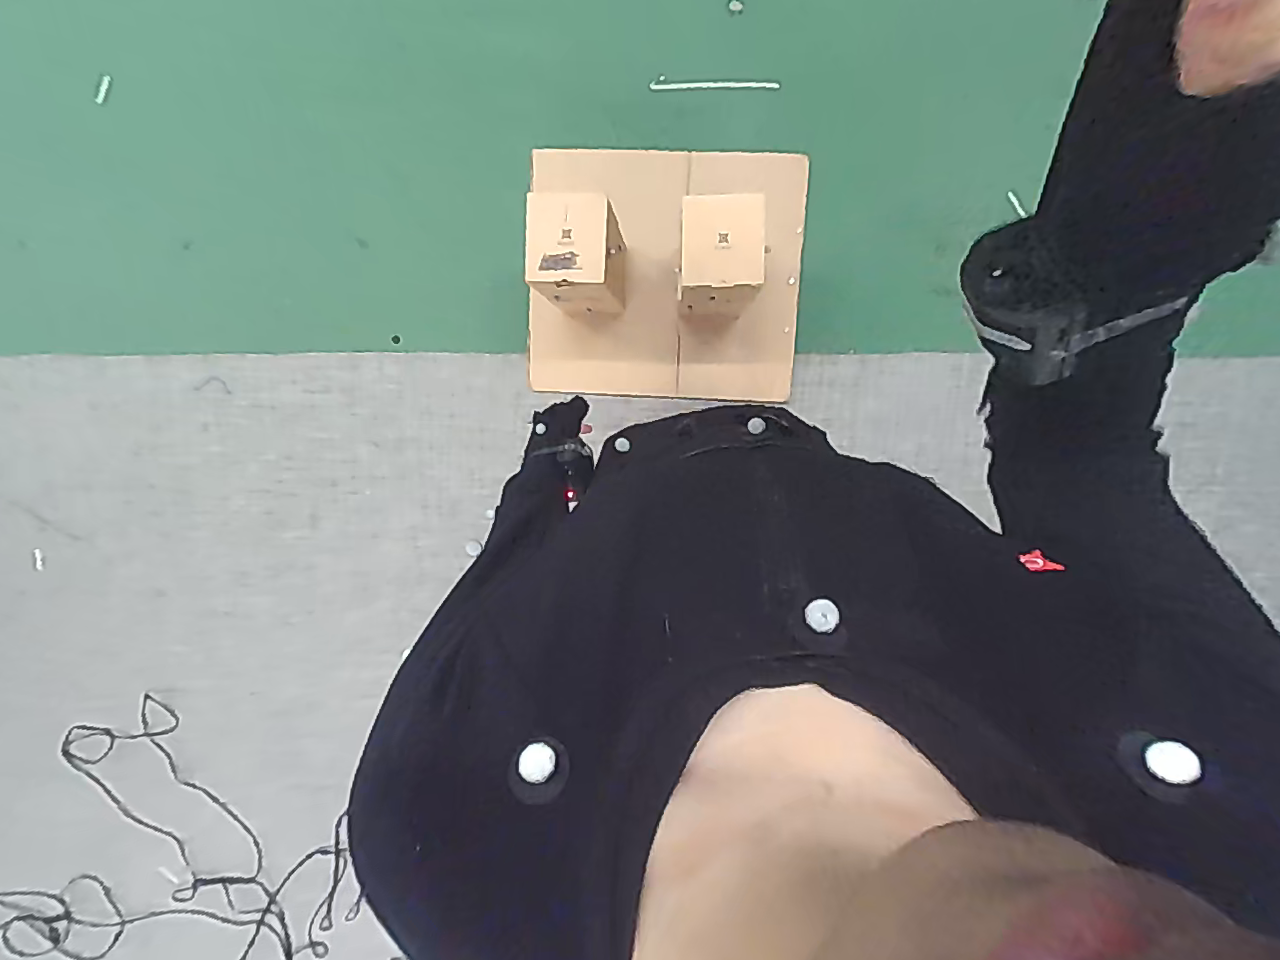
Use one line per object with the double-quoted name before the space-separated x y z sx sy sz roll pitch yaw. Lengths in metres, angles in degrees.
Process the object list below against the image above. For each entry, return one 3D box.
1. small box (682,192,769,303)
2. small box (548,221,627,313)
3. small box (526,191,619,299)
"small box" 0.172 -0.481 1.139 0.168 0.176 0.179 0 98 4
"small box" -0.123 -0.513 1.317 0.168 0.176 0.179 2 98 5
"small box" -0.138 -0.493 1.155 0.168 0.176 0.179 4 97 4
